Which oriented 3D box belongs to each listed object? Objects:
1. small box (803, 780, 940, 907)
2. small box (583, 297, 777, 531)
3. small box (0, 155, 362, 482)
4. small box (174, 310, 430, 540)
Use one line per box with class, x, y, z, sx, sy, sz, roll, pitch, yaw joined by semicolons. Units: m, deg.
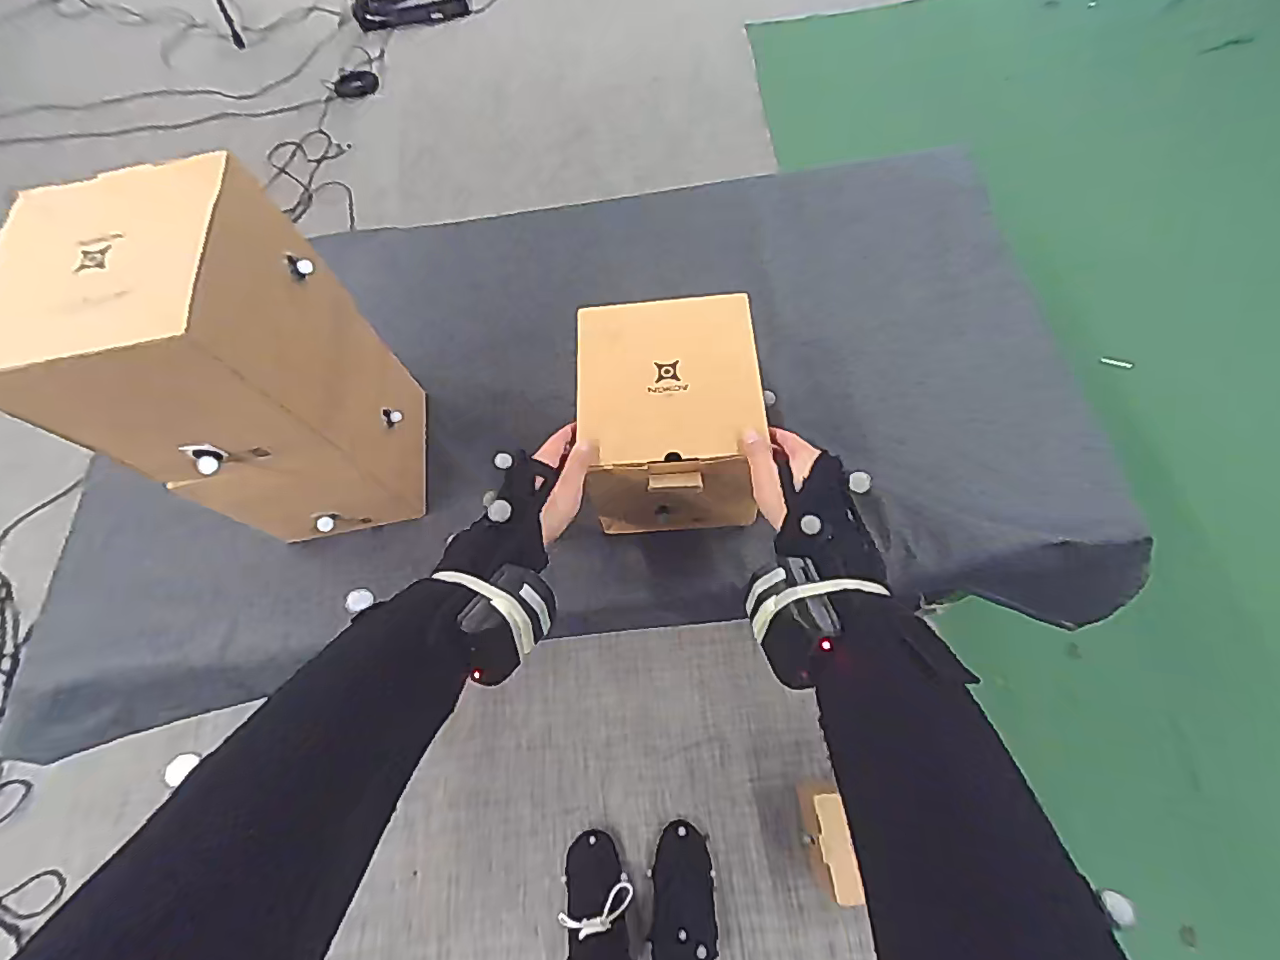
small box;0.410;0.661;1.000;0.179;0.176;0.168;-8;64;2
small box;0.035;-0.060;0.560;0.168;0.176;0.179;-4;65;3
small box;-0.353;-0.120;0.444;0.168;0.176;0.179;-11;66;2
small box;-0.344;-0.052;0.591;0.168;0.176;0.179;-11;66;1
